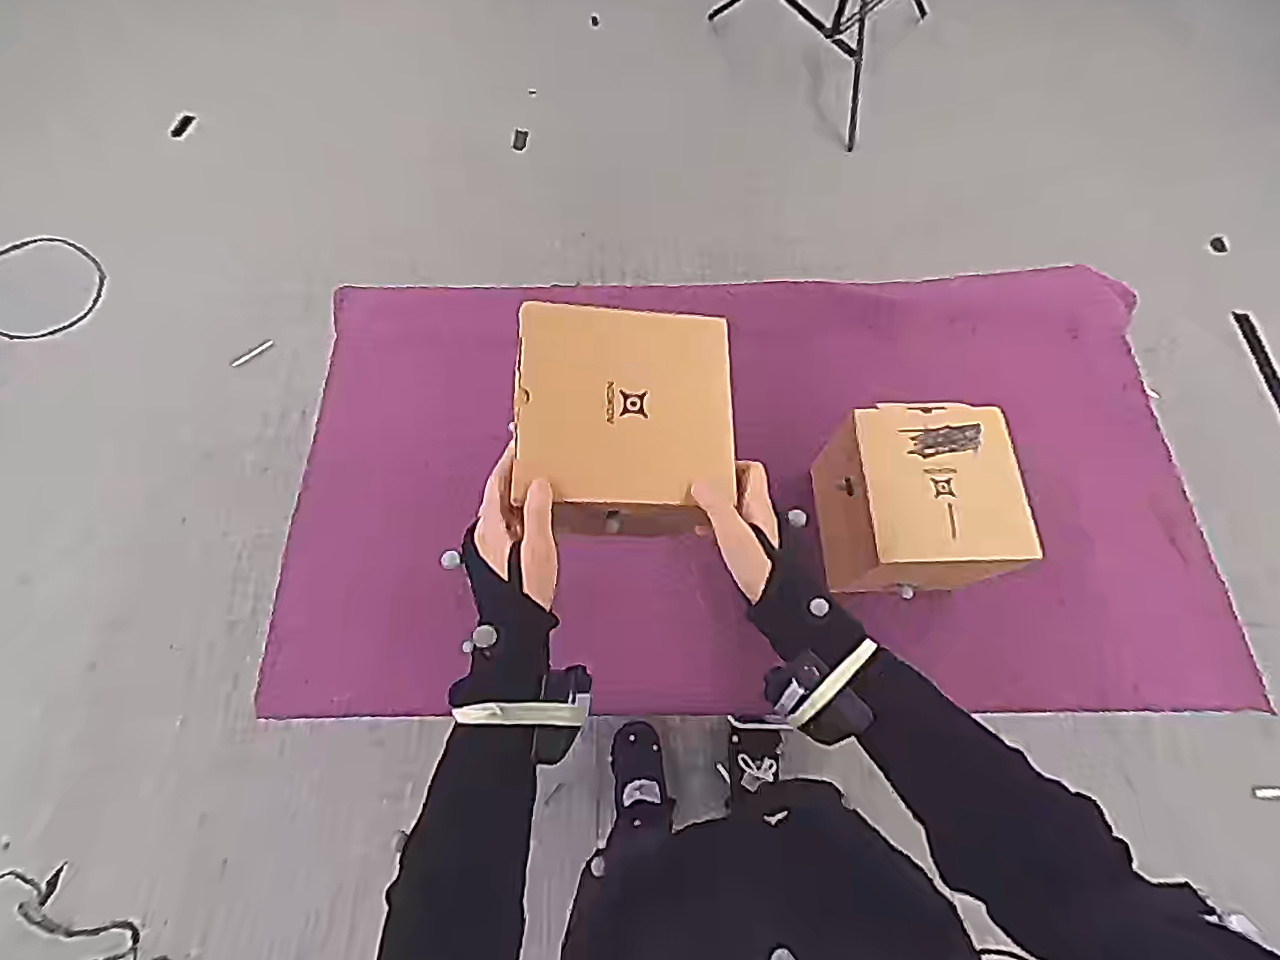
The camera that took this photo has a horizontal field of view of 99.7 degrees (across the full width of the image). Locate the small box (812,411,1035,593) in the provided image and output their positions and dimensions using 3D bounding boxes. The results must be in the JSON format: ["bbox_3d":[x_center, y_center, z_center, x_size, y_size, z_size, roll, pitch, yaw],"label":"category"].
[{"bbox_3d":[0.317,0.033,0.650,0.168,0.176,0.179,-1,69,0],"label":"small box"}]

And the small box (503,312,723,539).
[{"bbox_3d":[-0.031,-0.037,0.515,0.179,0.176,0.168,1,76,-9],"label":"small box"}]
